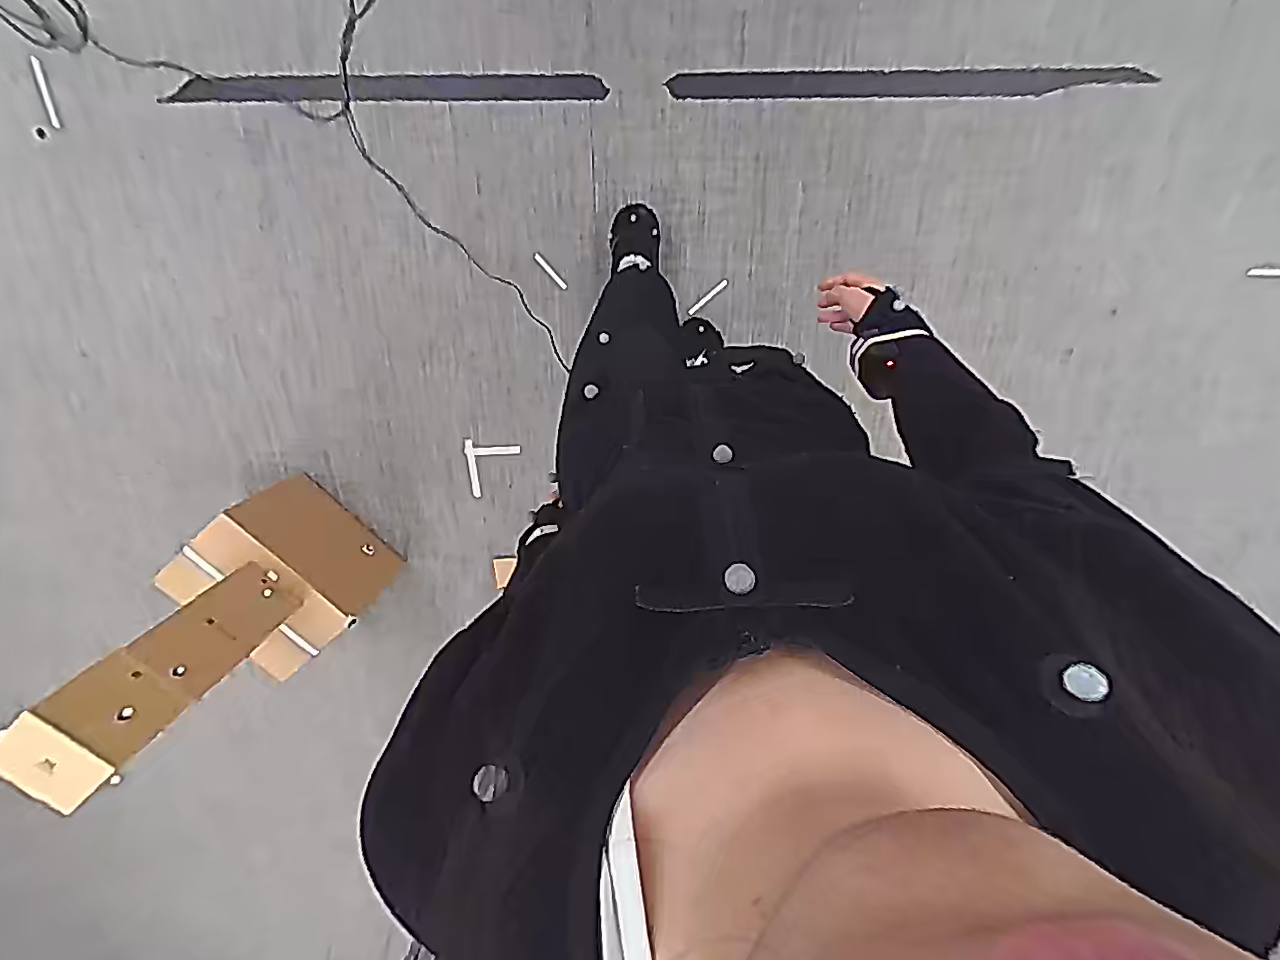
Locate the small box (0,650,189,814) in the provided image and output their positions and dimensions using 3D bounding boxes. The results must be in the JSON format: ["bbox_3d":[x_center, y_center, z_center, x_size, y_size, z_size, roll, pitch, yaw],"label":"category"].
[{"bbox_3d":[-0.978,0.447,0.978,0.179,0.176,0.168,-40,104,16],"label":"small box"}]

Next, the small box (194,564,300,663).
[{"bbox_3d":[-0.961,0.336,1.285,0.179,0.176,0.168,-40,104,15],"label":"small box"}]

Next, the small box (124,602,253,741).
[{"bbox_3d":[-0.970,0.394,1.132,0.179,0.176,0.168,-39,104,16],"label":"small box"}]
